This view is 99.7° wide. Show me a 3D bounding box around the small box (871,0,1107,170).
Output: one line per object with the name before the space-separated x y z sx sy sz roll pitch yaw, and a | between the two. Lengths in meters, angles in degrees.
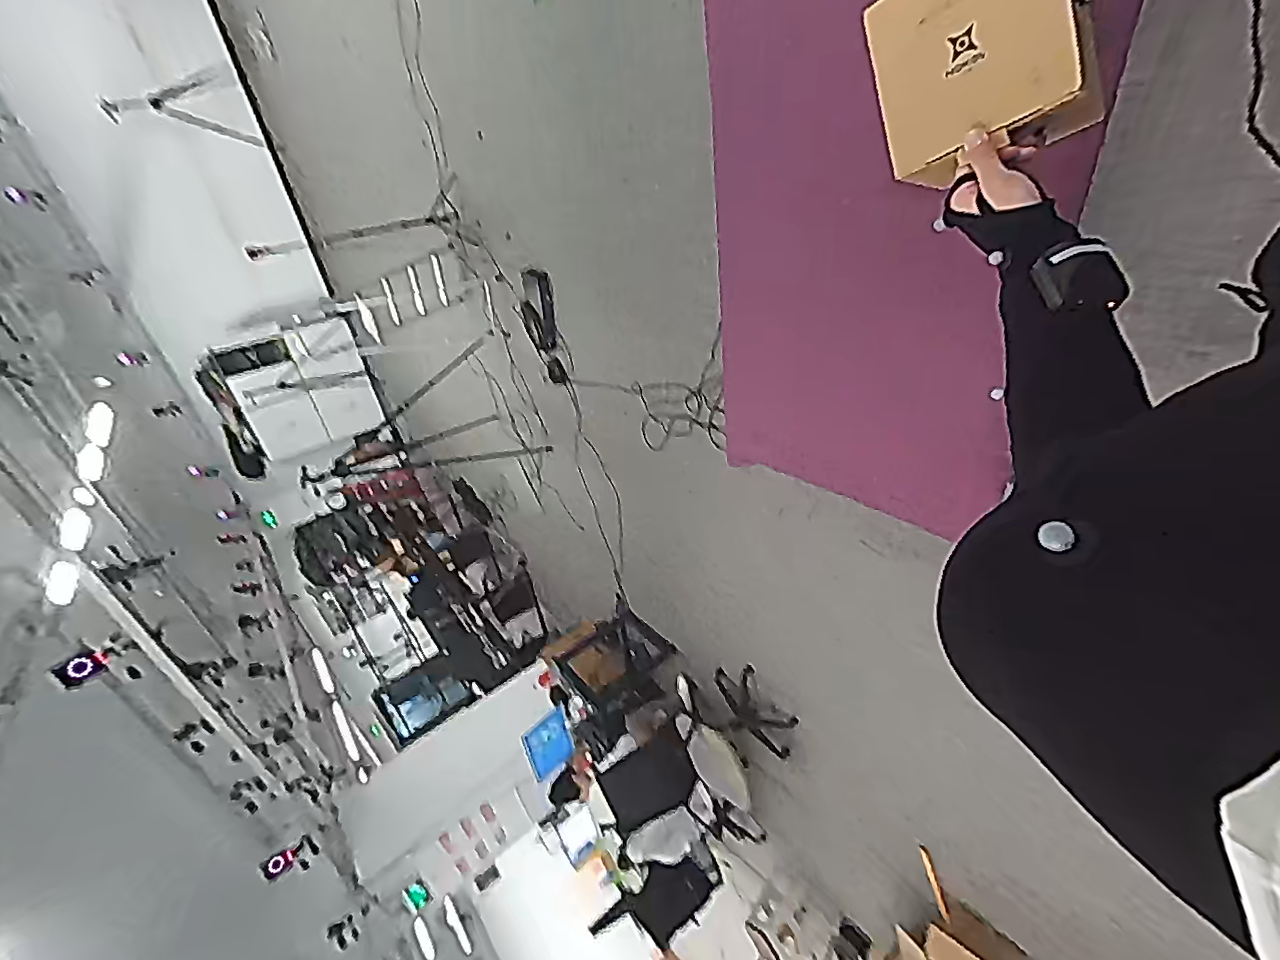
small box | 0.375 -0.455 0.576 0.168 0.176 0.179 -6 103 47
